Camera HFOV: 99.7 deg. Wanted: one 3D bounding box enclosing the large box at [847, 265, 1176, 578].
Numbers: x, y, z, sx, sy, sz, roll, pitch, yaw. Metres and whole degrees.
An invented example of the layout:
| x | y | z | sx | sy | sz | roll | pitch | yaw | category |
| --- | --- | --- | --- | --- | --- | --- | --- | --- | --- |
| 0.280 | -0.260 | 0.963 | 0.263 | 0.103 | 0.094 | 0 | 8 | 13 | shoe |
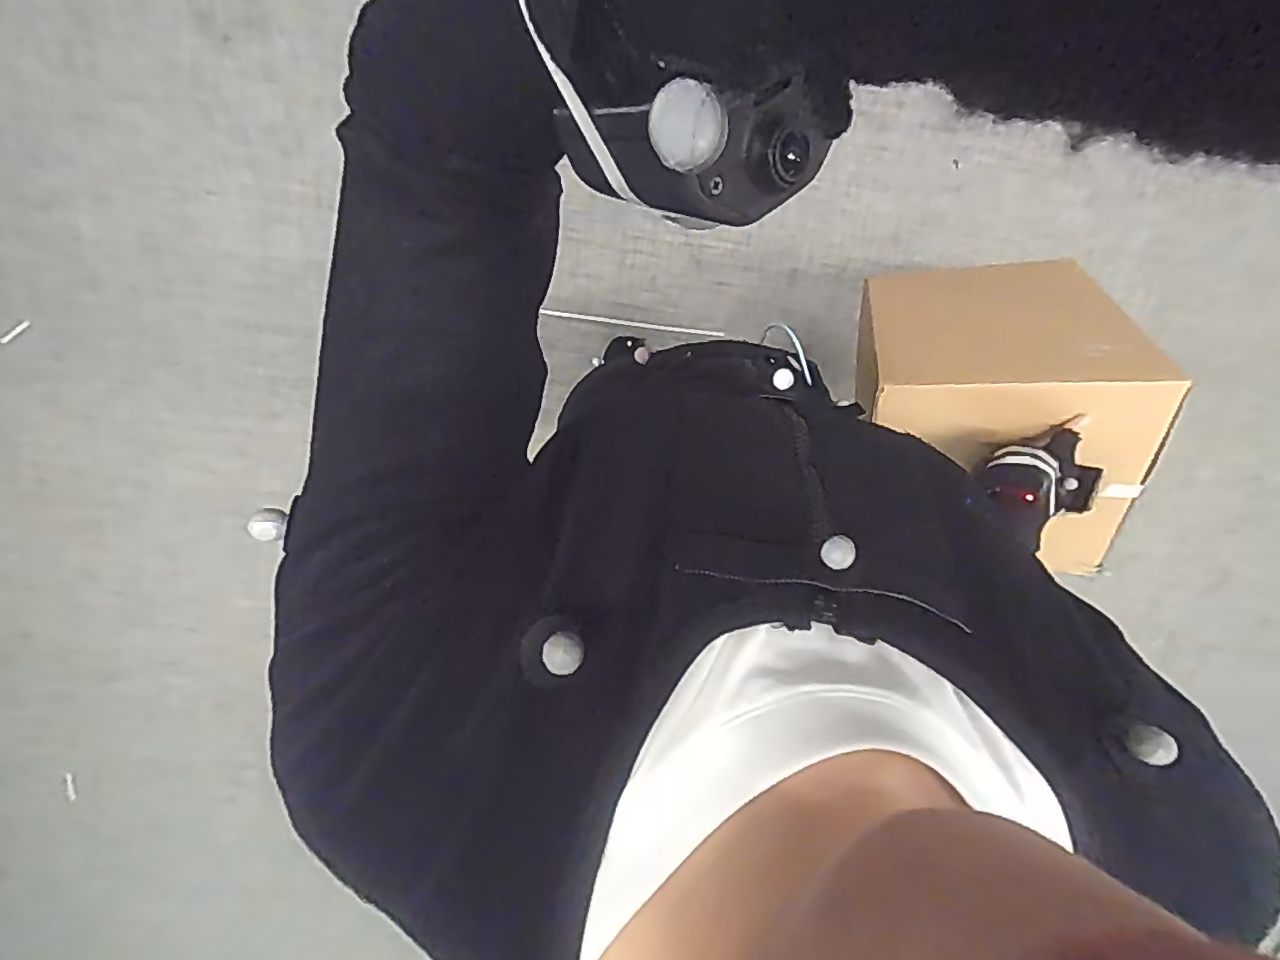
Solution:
| x | y | z | sx | sy | sz | roll | pitch | yaw | category |
| --- | --- | --- | --- | --- | --- | --- | --- | --- | --- |
| 0.510 | -0.113 | 0.857 | 0.320 | 0.408 | 0.320 | 4 | 130 | 19 | large box |
